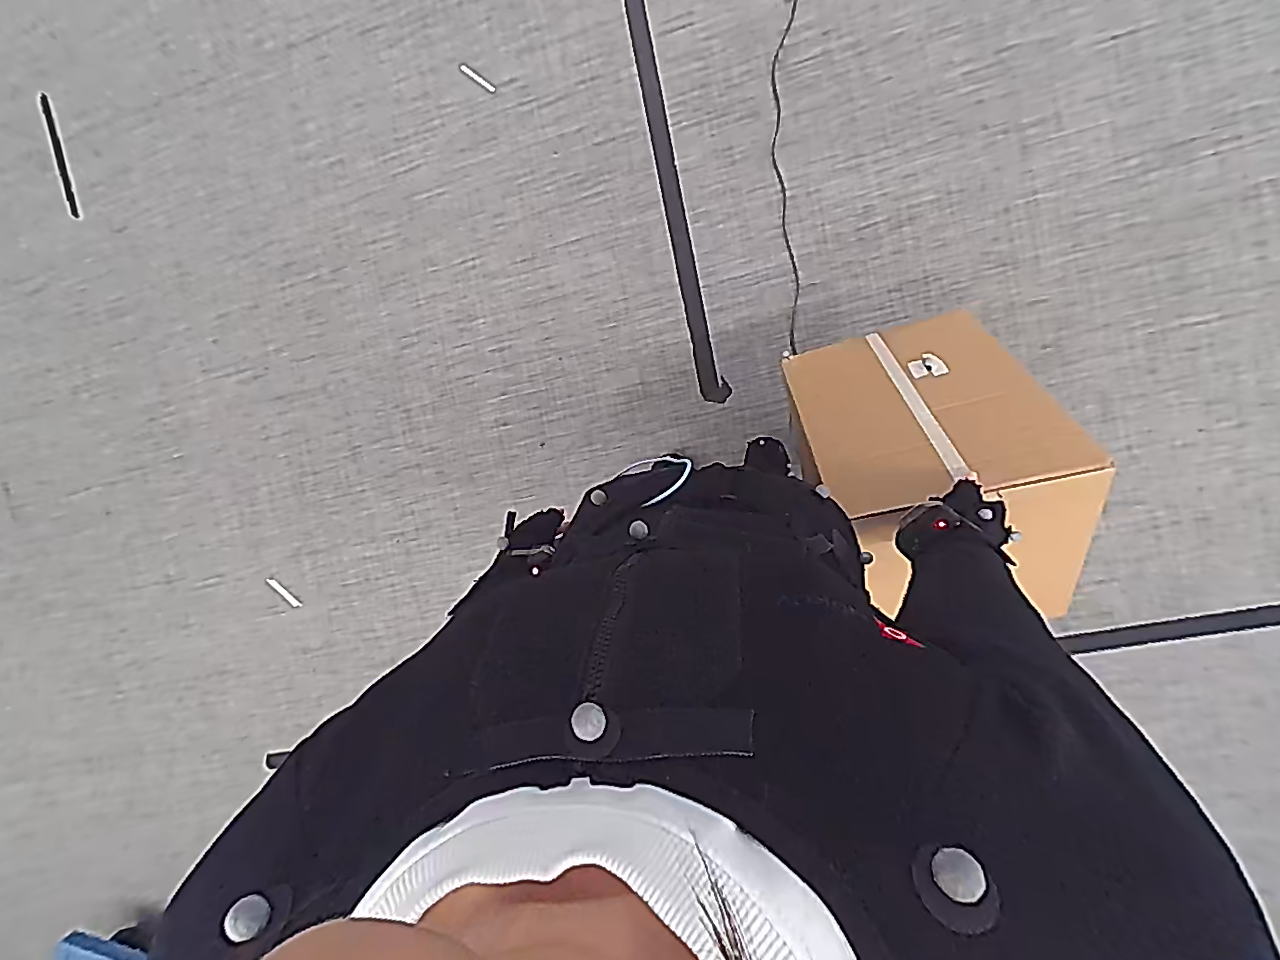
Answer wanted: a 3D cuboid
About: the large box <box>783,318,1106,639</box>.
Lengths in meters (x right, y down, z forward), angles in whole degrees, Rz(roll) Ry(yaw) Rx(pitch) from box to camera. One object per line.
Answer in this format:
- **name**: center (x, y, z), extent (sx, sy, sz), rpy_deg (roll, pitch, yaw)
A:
- **large box**: center (0.454, -0.007, 0.906), extent (0.320, 0.408, 0.320), rpy_deg (-13, 130, 11)
